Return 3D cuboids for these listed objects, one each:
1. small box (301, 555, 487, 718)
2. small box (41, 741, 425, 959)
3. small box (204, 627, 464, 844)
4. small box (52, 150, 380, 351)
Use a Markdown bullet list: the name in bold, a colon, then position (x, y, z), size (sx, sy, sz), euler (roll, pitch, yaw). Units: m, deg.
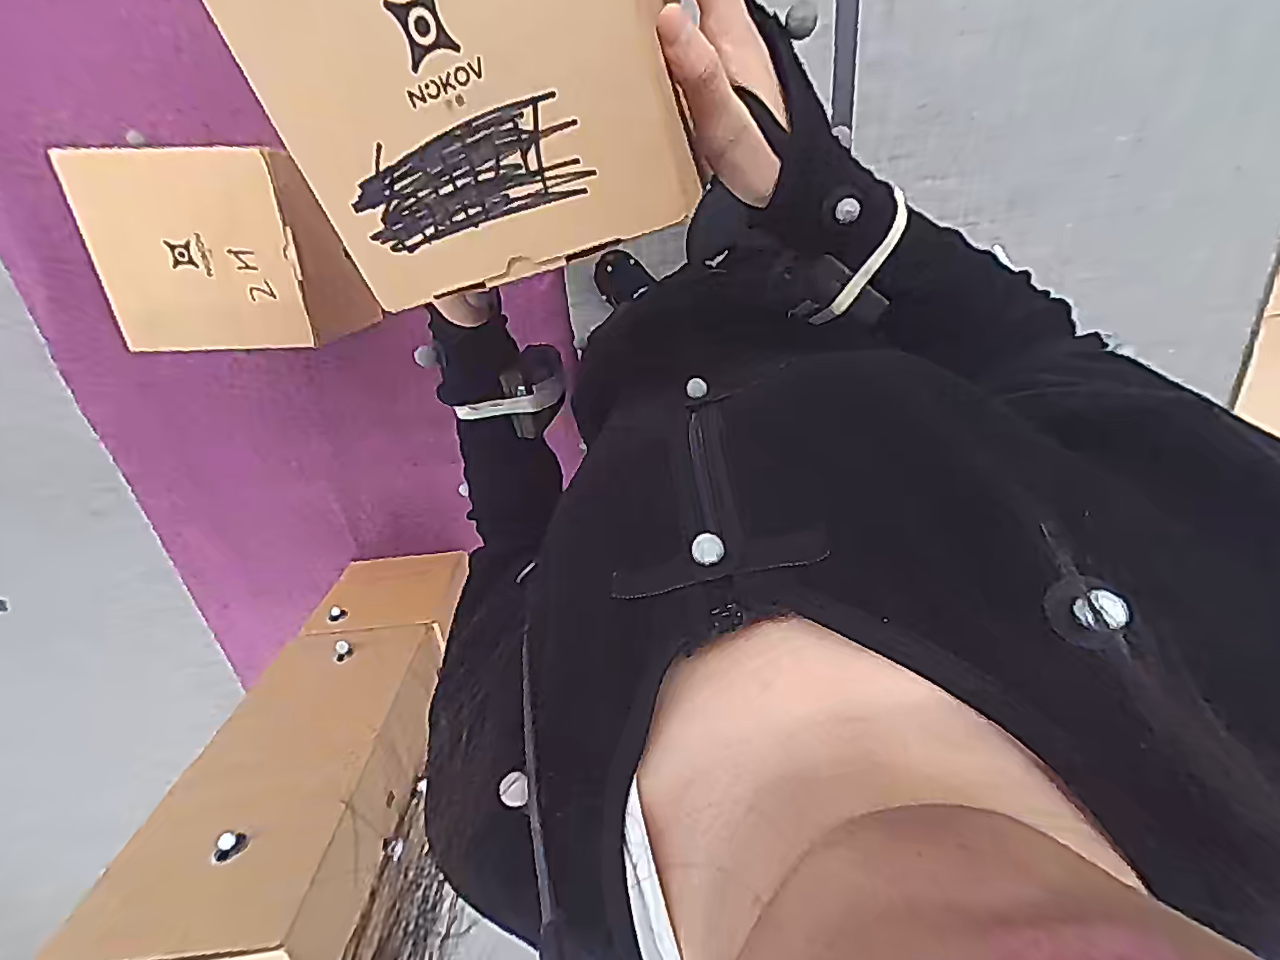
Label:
- **small box**: position (-0.325, 0.220, 0.763), size (0.179, 0.176, 0.168), euler (-6, 115, 0)
- **small box**: position (-0.313, 0.354, 0.463), size (0.179, 0.176, 0.168), euler (-7, 115, -1)
- **small box**: position (-0.322, 0.290, 0.614), size (0.179, 0.176, 0.168), euler (-7, 115, 1)
- **small box**: position (-0.399, -0.230, 0.550), size (0.179, 0.176, 0.168), euler (-2, 116, -2)
